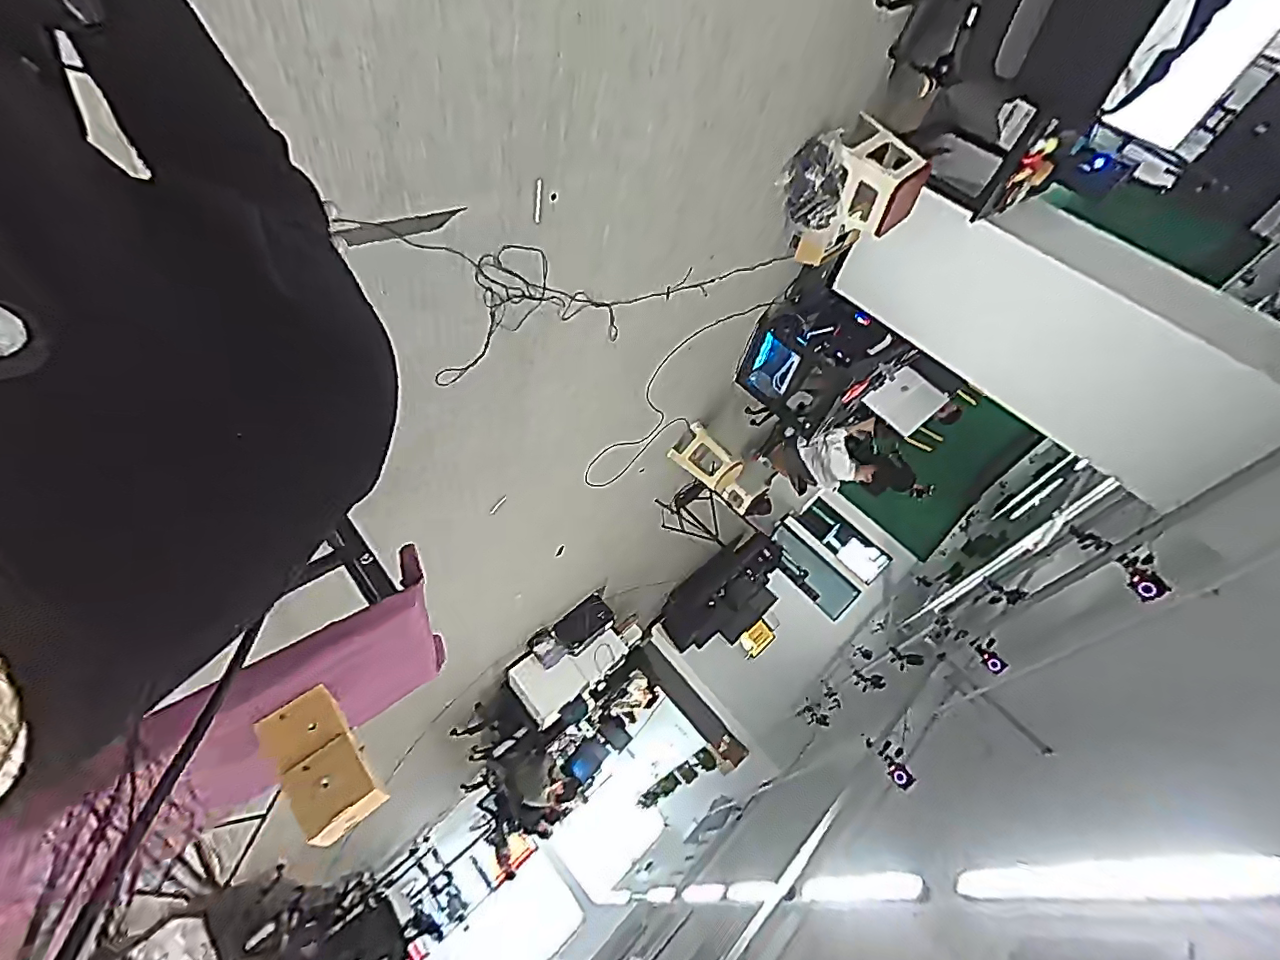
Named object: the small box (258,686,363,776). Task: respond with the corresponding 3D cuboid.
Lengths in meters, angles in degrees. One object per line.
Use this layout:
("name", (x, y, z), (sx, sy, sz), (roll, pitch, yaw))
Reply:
("small box", (-0.880, 0.684, 1.447), (0.168, 0.176, 0.179), (-32, 156, -32))

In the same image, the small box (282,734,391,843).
("small box", (-0.766, 0.776, 1.369), (0.168, 0.176, 0.179), (-33, 156, -30))
